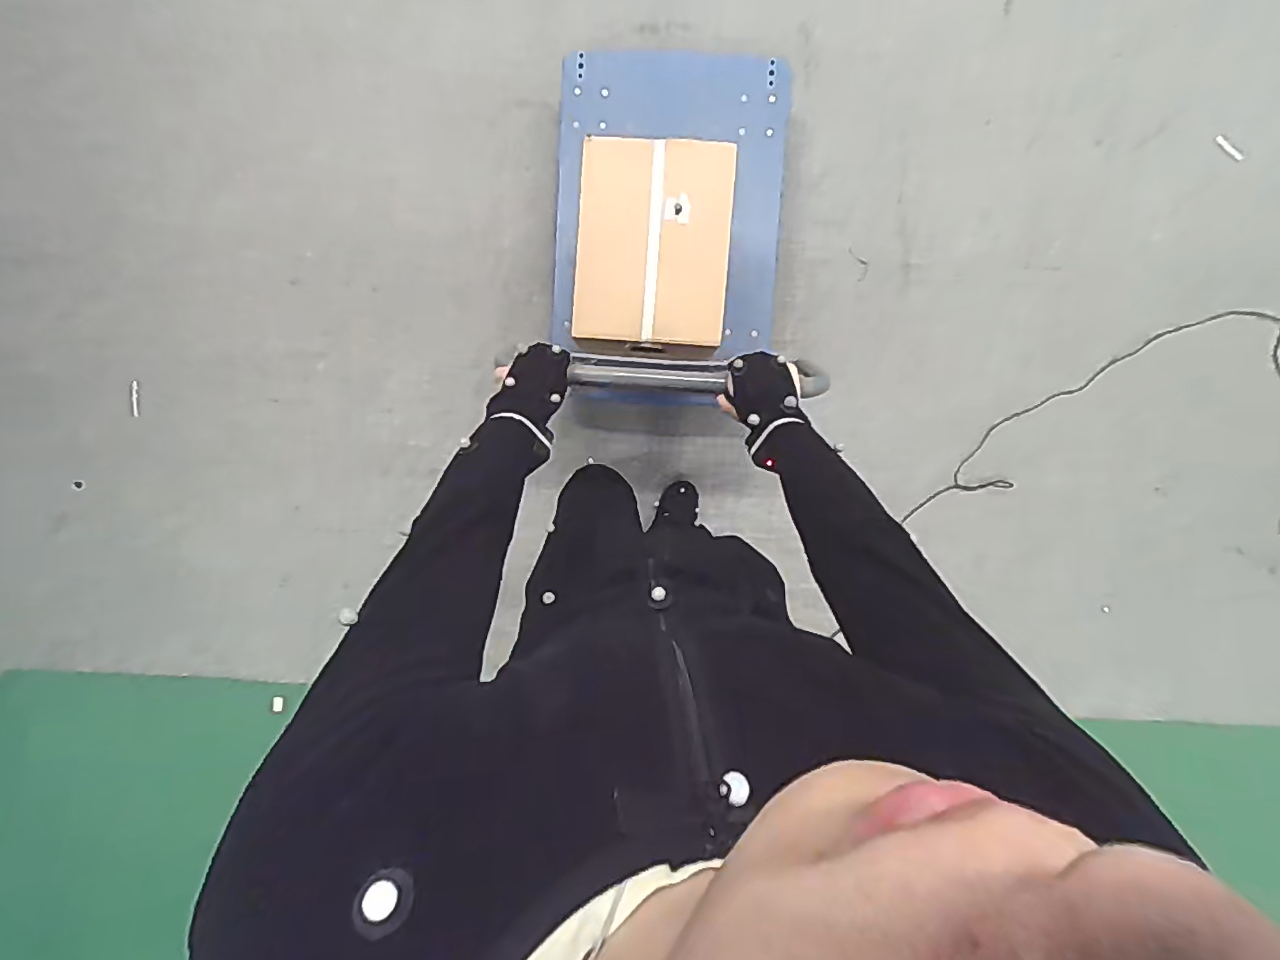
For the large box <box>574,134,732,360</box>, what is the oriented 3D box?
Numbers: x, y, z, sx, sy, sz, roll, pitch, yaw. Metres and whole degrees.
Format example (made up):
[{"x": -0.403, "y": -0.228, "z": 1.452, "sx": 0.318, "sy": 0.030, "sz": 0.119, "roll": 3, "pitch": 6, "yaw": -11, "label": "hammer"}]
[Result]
[{"x": 0.031, "y": -0.509, "z": 1.260, "sx": 0.320, "sy": 0.320, "sz": 0.408, "roll": 4, "pitch": 93, "yaw": 1, "label": "large box"}]
